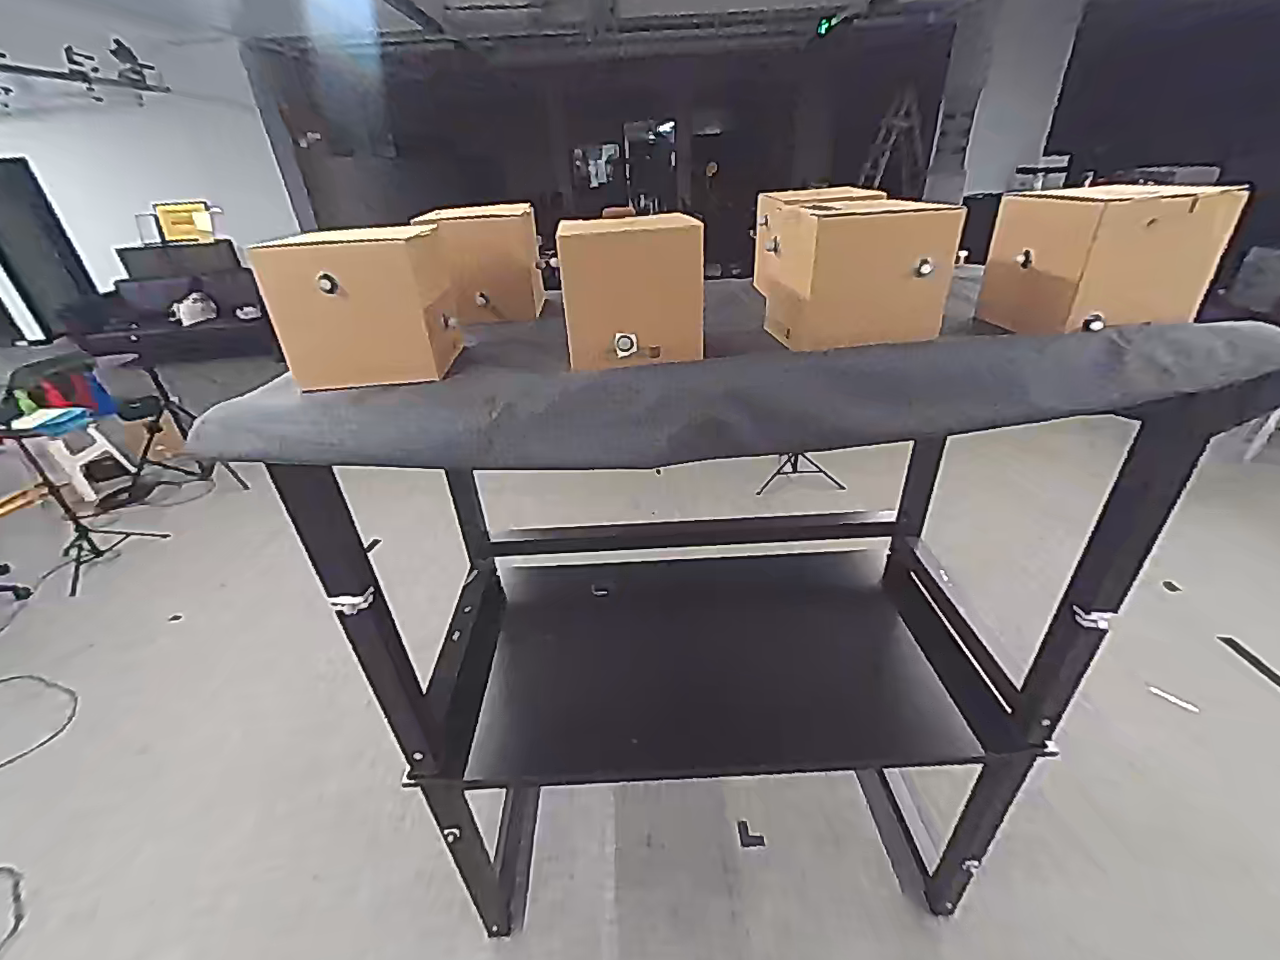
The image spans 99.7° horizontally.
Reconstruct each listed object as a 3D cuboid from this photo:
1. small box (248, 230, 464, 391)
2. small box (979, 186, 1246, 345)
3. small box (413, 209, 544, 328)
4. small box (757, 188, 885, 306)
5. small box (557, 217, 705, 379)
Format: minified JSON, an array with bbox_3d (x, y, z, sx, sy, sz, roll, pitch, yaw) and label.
[{"bbox_3d":[-0.345,-0.221,0.699,0.179,0.176,0.168,-5,30,-4],"label":"small box"},{"bbox_3d":[0.582,-0.276,0.699,0.168,0.176,0.179,-5,30,-2],"label":"small box"},{"bbox_3d":[-0.268,-0.371,0.948,0.179,0.176,0.168,-4,31,-2],"label":"small box"},{"bbox_3d":[0.308,-0.411,0.959,0.168,0.176,0.179,-4,31,-1],"label":"small box"},{"bbox_3d":[-0.013,-0.240,0.703,0.168,0.176,0.179,-6,30,-3],"label":"small box"}]
